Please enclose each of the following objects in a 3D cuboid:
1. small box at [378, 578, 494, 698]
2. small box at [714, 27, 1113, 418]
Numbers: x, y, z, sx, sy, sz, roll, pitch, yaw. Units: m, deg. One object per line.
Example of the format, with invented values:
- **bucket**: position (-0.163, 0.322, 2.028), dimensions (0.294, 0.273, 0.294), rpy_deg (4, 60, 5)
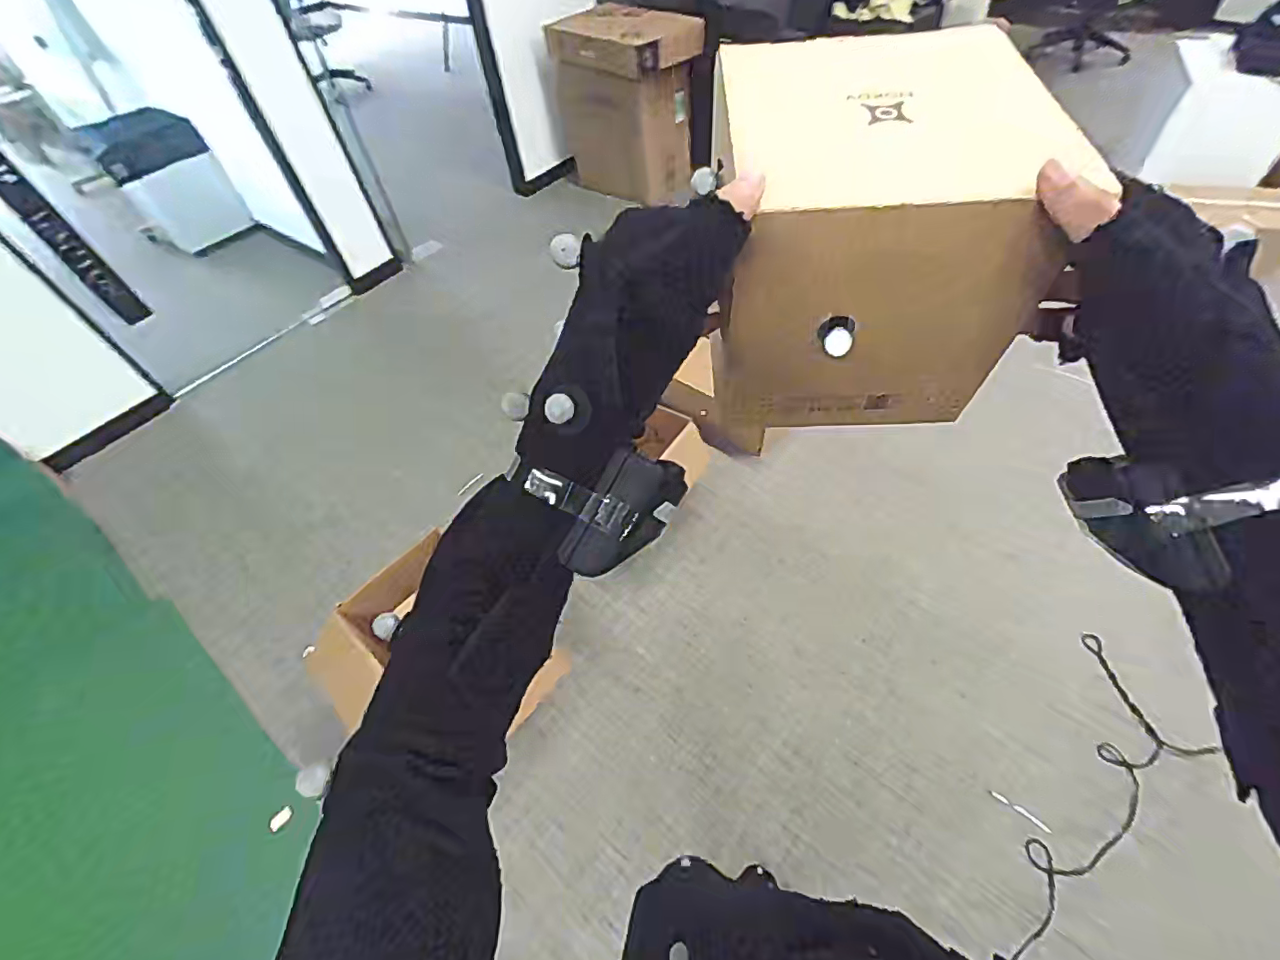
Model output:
- **small box**: position (-0.465, 0.371, 1.268), dimensions (0.168, 0.176, 0.179), rpy_deg (30, 56, 29)
- **small box**: position (0.136, -0.153, 0.354), dimensions (0.168, 0.176, 0.179), rpy_deg (-1, 58, 4)
